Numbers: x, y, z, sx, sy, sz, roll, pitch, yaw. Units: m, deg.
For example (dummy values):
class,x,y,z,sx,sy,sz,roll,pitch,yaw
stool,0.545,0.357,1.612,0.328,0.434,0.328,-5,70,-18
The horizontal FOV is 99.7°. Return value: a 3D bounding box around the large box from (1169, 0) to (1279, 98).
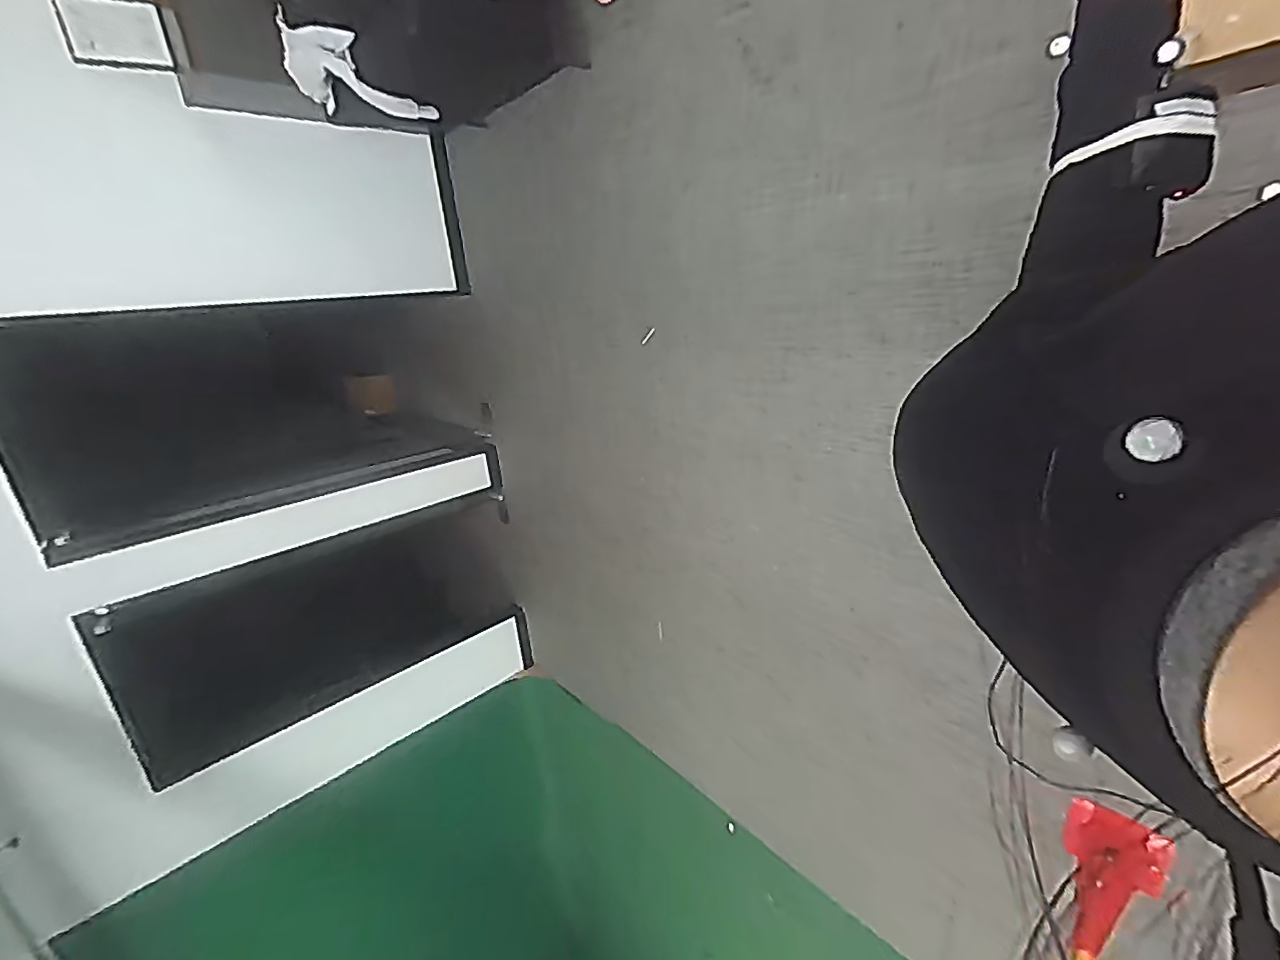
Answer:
class,x,y,z,sx,sy,sz,roll,pitch,yaw
large box,0.602,-0.472,0.305,0.408,0.320,0.320,9,117,42
